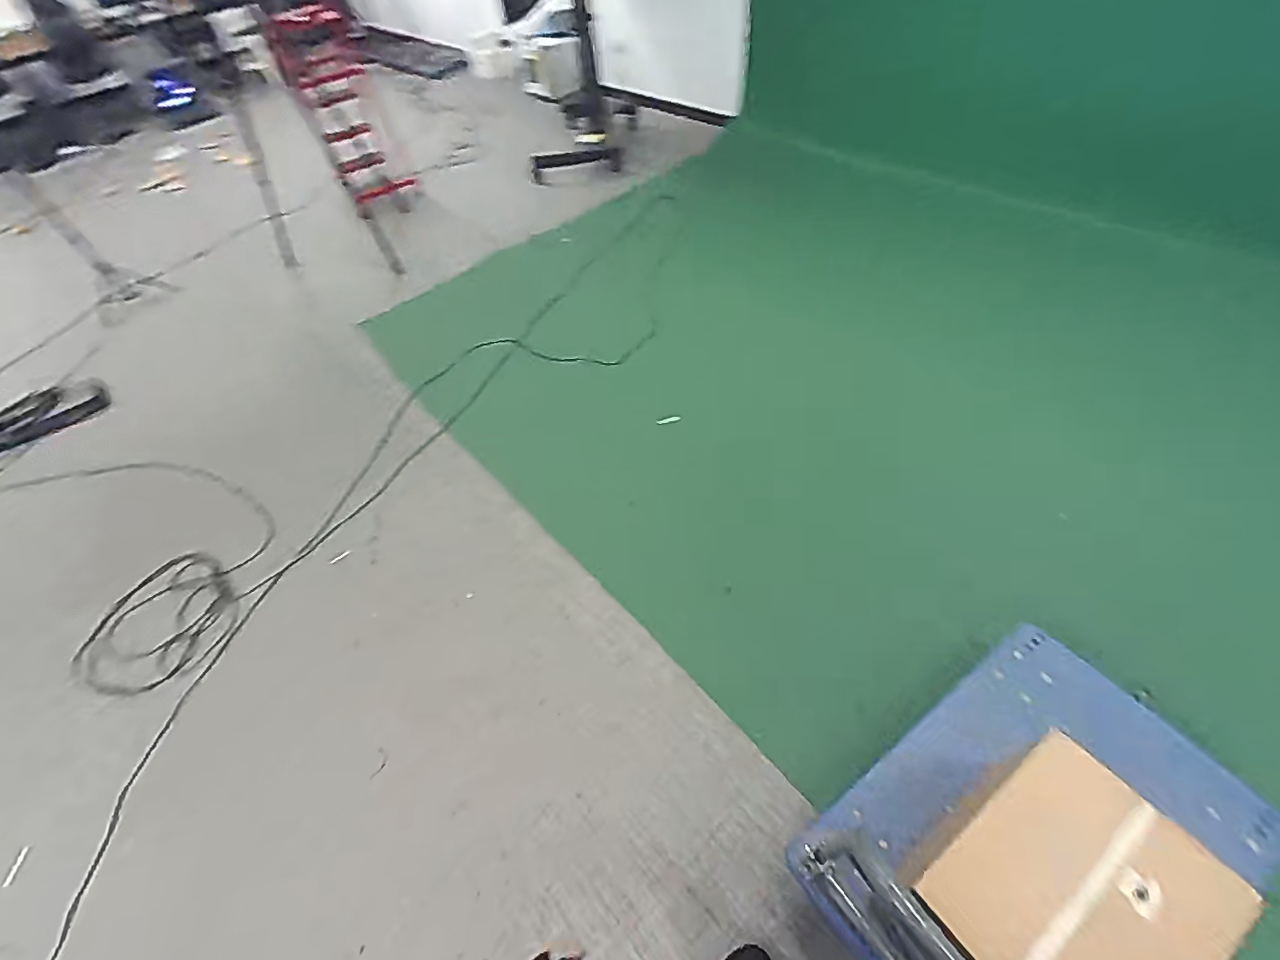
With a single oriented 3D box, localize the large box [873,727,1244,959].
[{"bbox_3d":[0.698,0.739,0.966,0.408,0.320,0.320,-32,55,-17],"label":"large box"}]
